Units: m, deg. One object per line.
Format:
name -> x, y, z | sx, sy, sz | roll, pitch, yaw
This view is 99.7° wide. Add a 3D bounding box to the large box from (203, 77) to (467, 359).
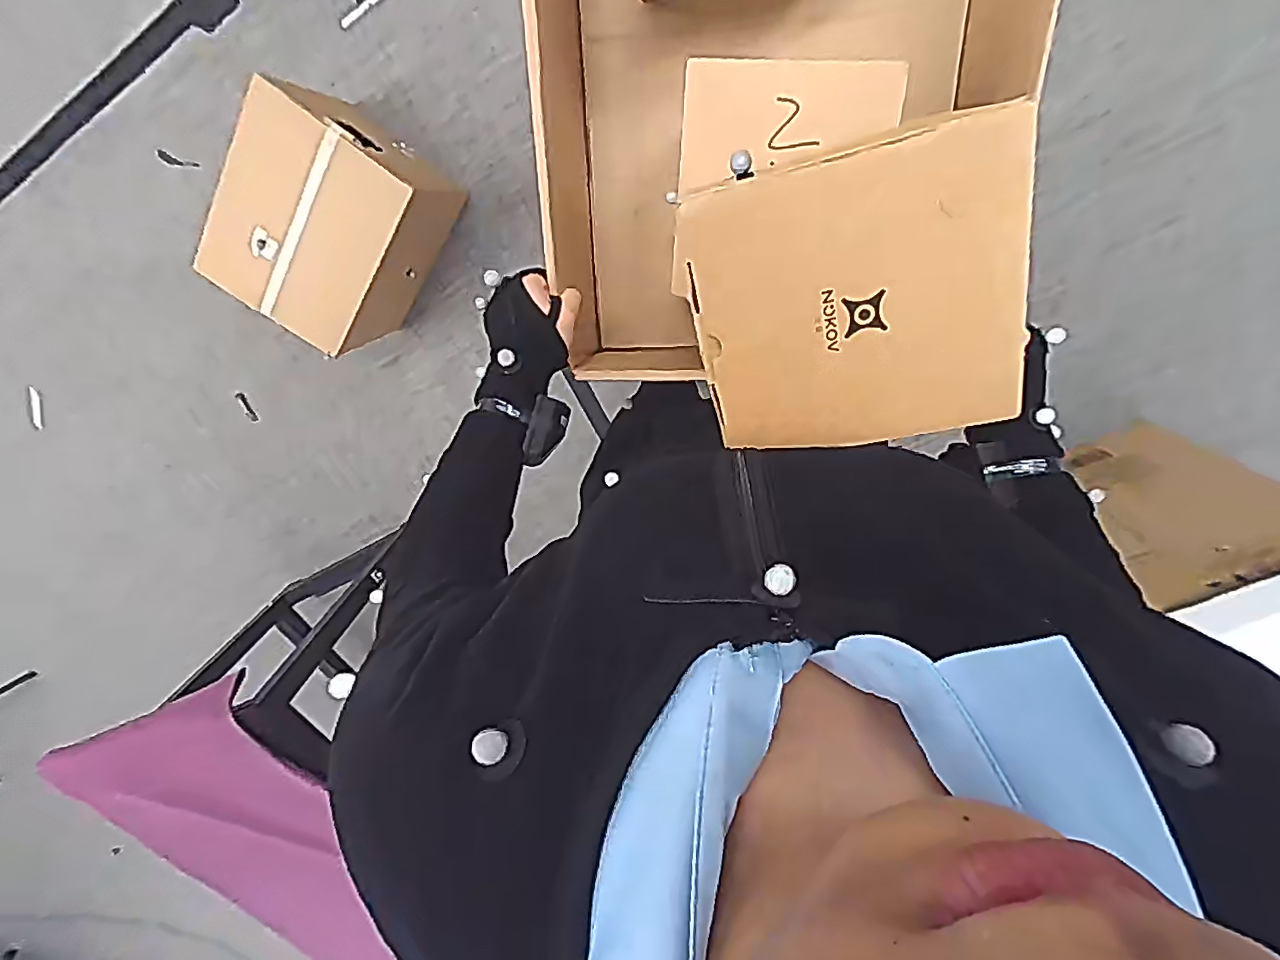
large box -> -0.641, -0.549, 1.178 | 0.320, 0.320, 0.408 | 34, 115, -12
